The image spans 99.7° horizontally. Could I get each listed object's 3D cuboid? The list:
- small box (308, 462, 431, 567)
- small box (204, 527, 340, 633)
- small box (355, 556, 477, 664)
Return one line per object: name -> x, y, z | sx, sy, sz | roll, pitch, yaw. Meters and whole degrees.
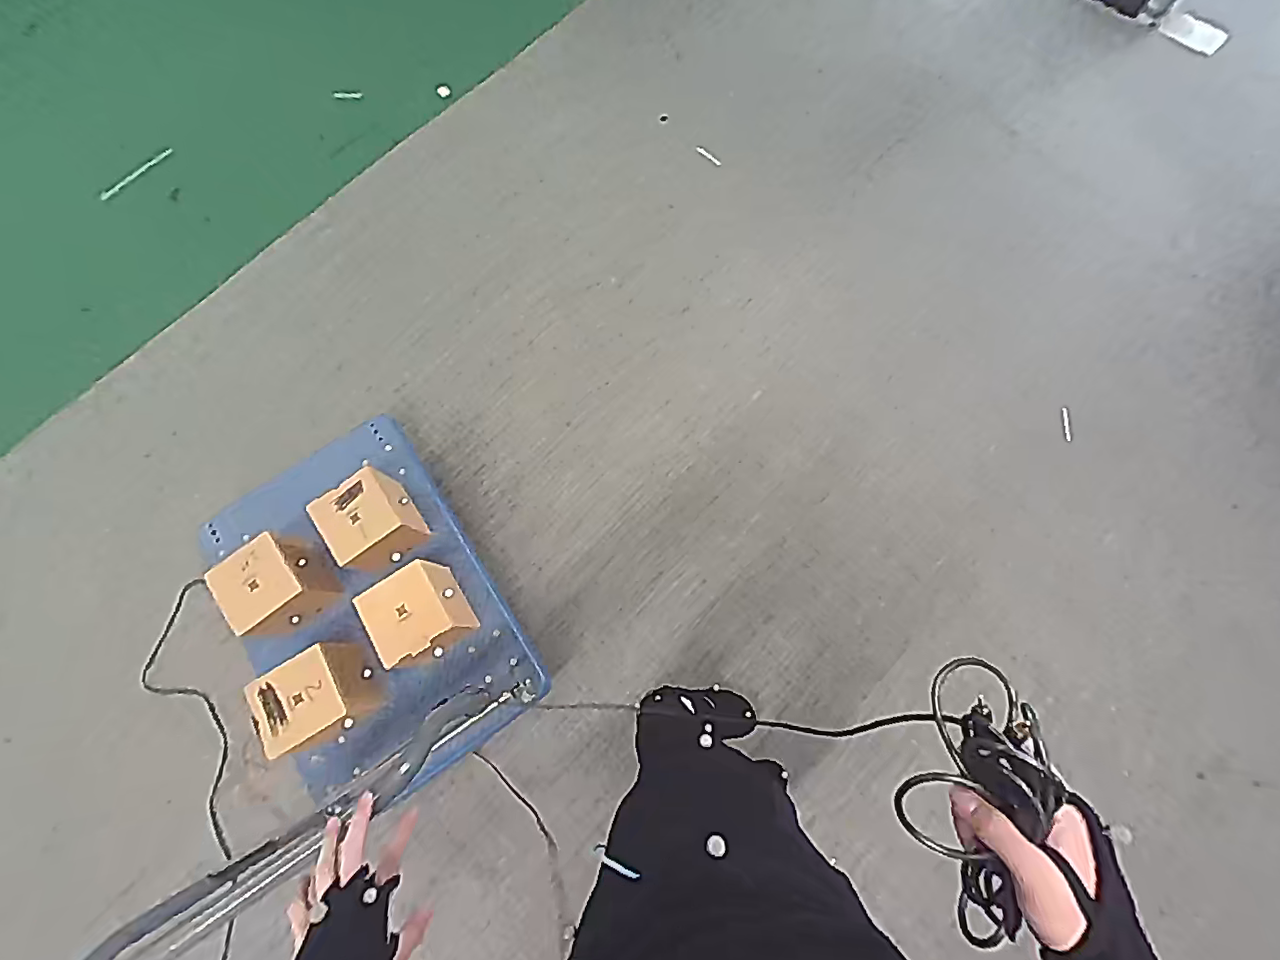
small box -> -0.638, 0.090, 1.295 | 0.168, 0.176, 0.179 | -35, 77, -6
small box -> -0.849, 0.235, 1.266 | 0.168, 0.176, 0.179 | -37, 76, -8
small box -> -0.503, 0.297, 1.234 | 0.168, 0.176, 0.179 | -32, 76, -6
